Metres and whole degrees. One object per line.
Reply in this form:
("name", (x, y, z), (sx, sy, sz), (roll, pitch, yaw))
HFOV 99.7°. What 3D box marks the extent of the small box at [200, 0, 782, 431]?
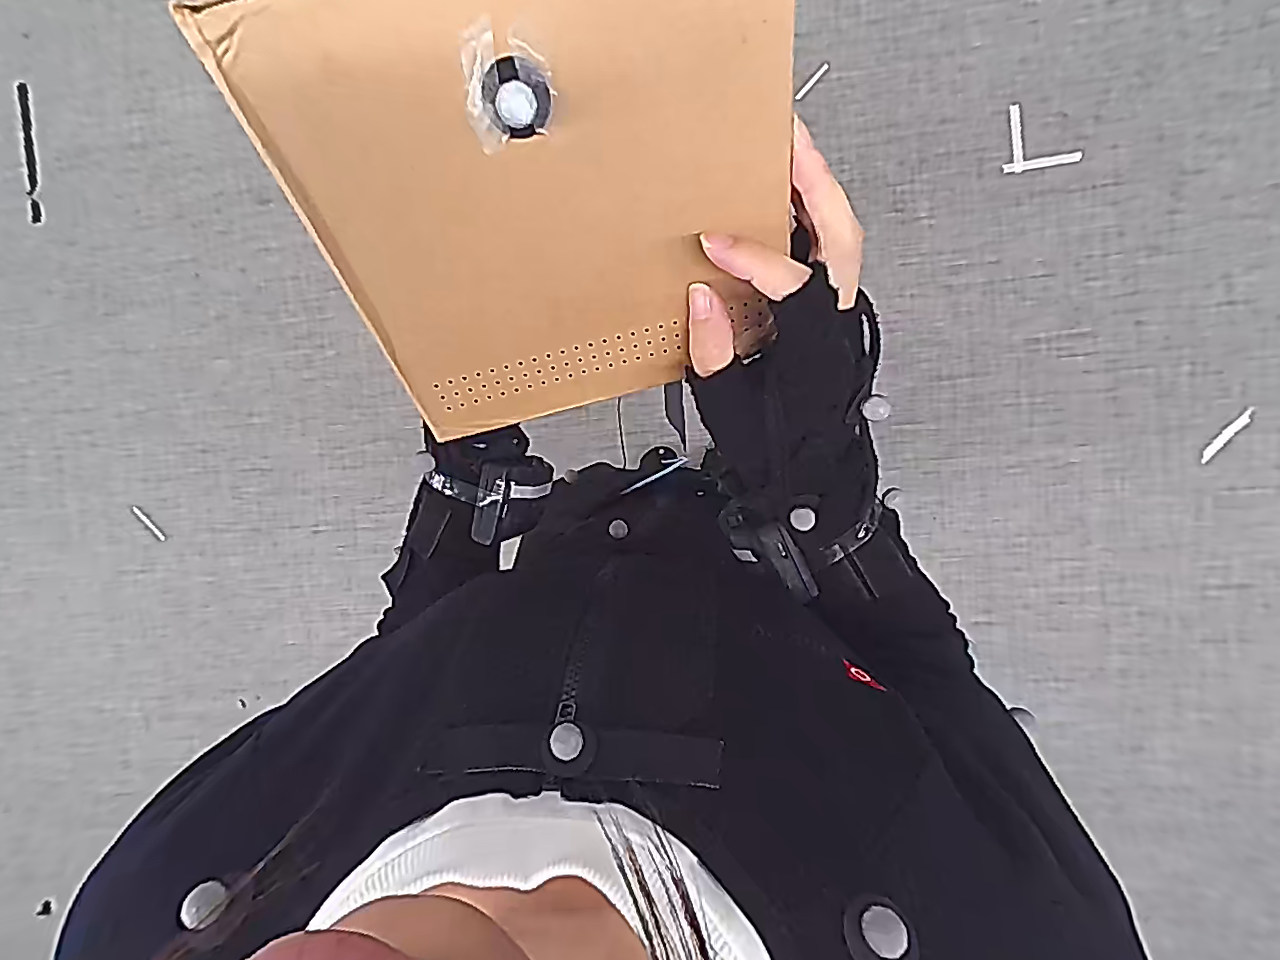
("small box", (-0.039, -0.146, 0.262), (0.179, 0.168, 0.176), (-14, 137, 1))
